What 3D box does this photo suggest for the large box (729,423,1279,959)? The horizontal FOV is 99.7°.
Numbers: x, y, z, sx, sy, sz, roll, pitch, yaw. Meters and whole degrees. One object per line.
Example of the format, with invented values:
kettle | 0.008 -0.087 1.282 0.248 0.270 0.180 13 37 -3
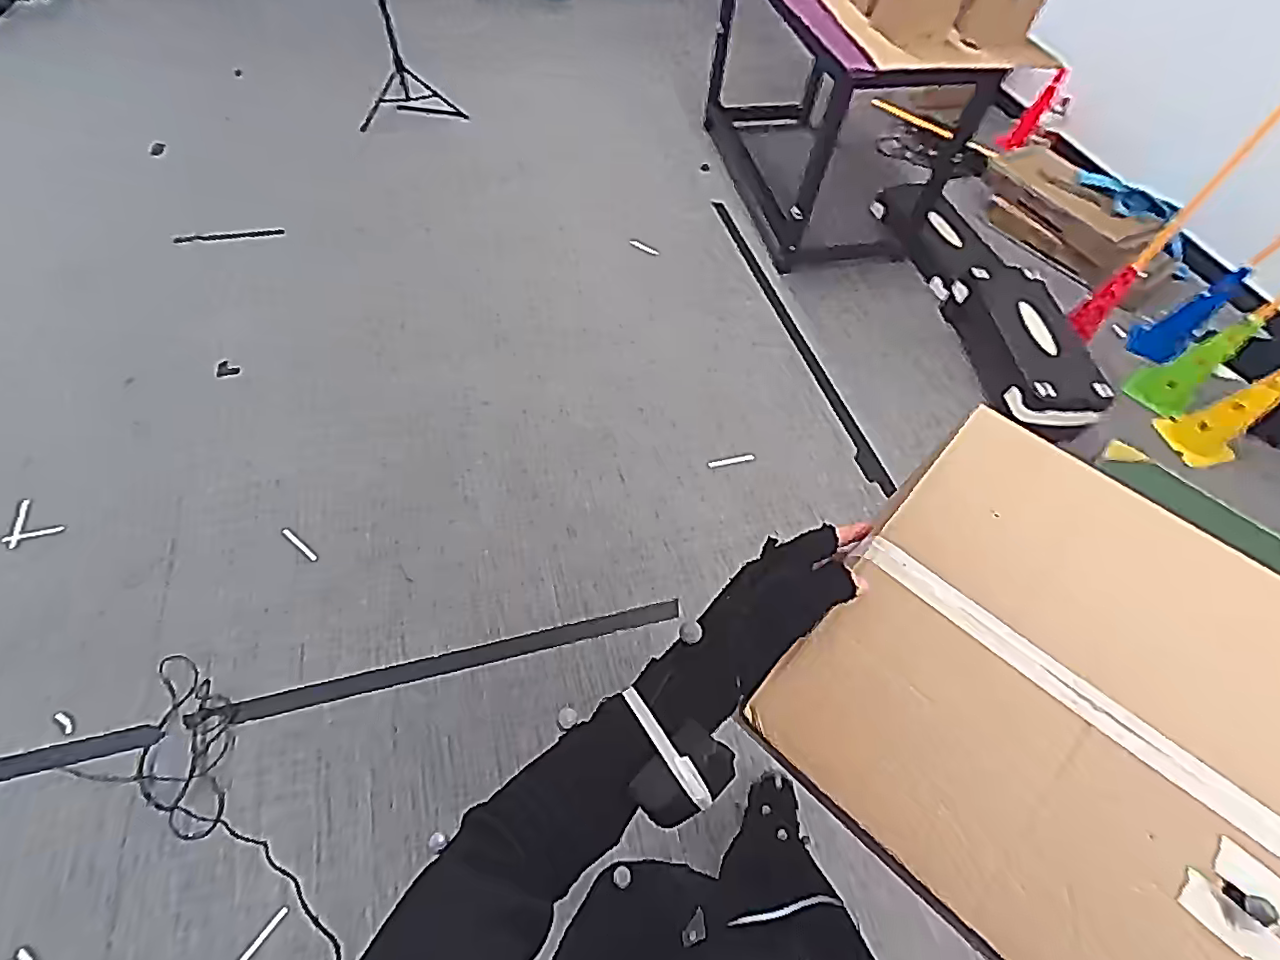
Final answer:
large box | 0.336 0.227 0.491 0.408 0.320 0.320 39 77 19
